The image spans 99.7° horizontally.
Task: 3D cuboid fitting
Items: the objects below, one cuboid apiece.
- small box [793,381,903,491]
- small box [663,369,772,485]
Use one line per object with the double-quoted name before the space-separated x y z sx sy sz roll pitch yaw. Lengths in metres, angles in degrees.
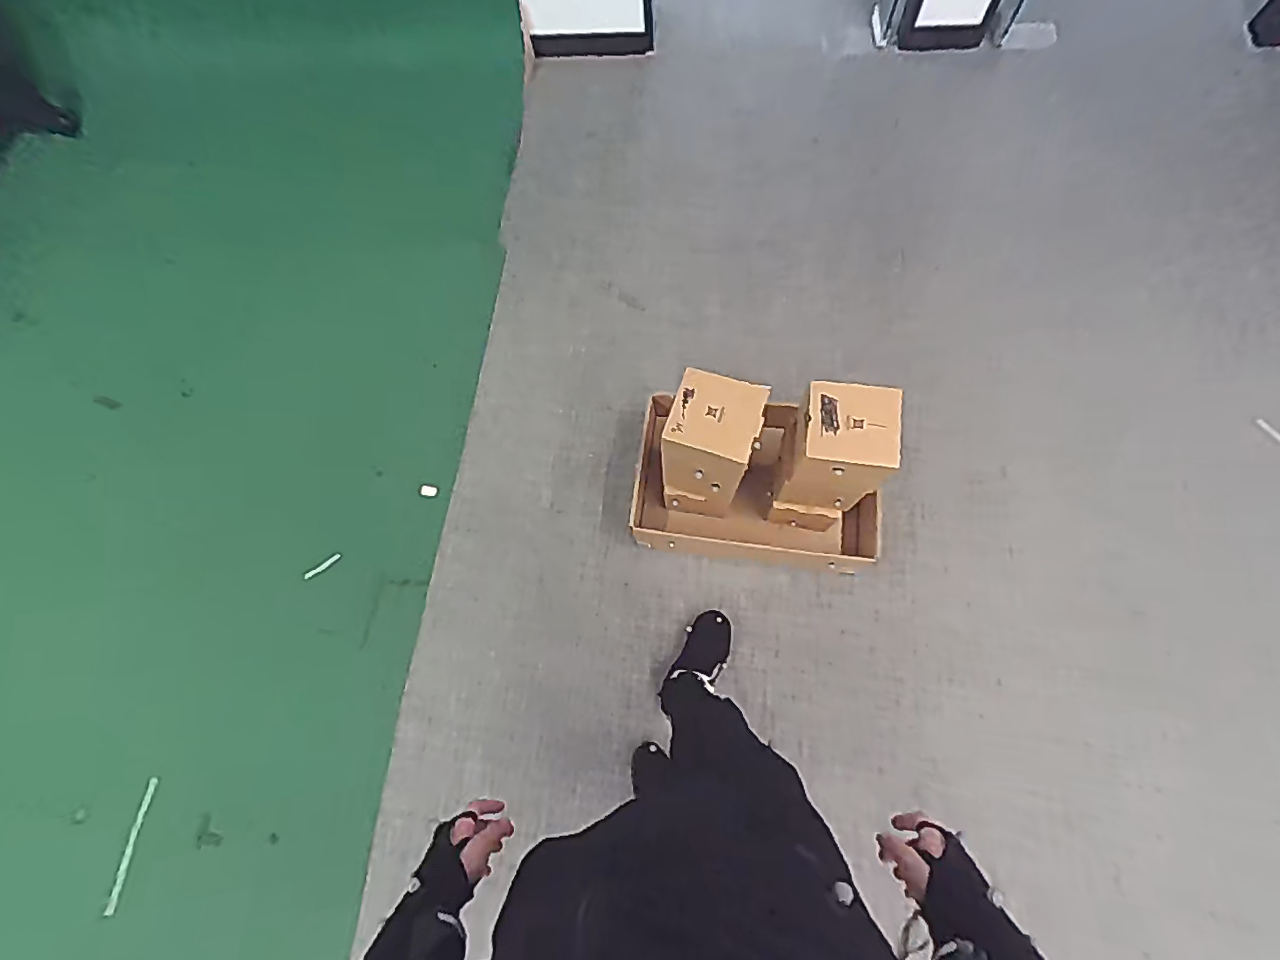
"small box" 0.417 -0.084 1.107 0.179 0.176 0.168 8 74 8
"small box" 0.156 -0.103 1.134 0.179 0.176 0.168 18 74 8
